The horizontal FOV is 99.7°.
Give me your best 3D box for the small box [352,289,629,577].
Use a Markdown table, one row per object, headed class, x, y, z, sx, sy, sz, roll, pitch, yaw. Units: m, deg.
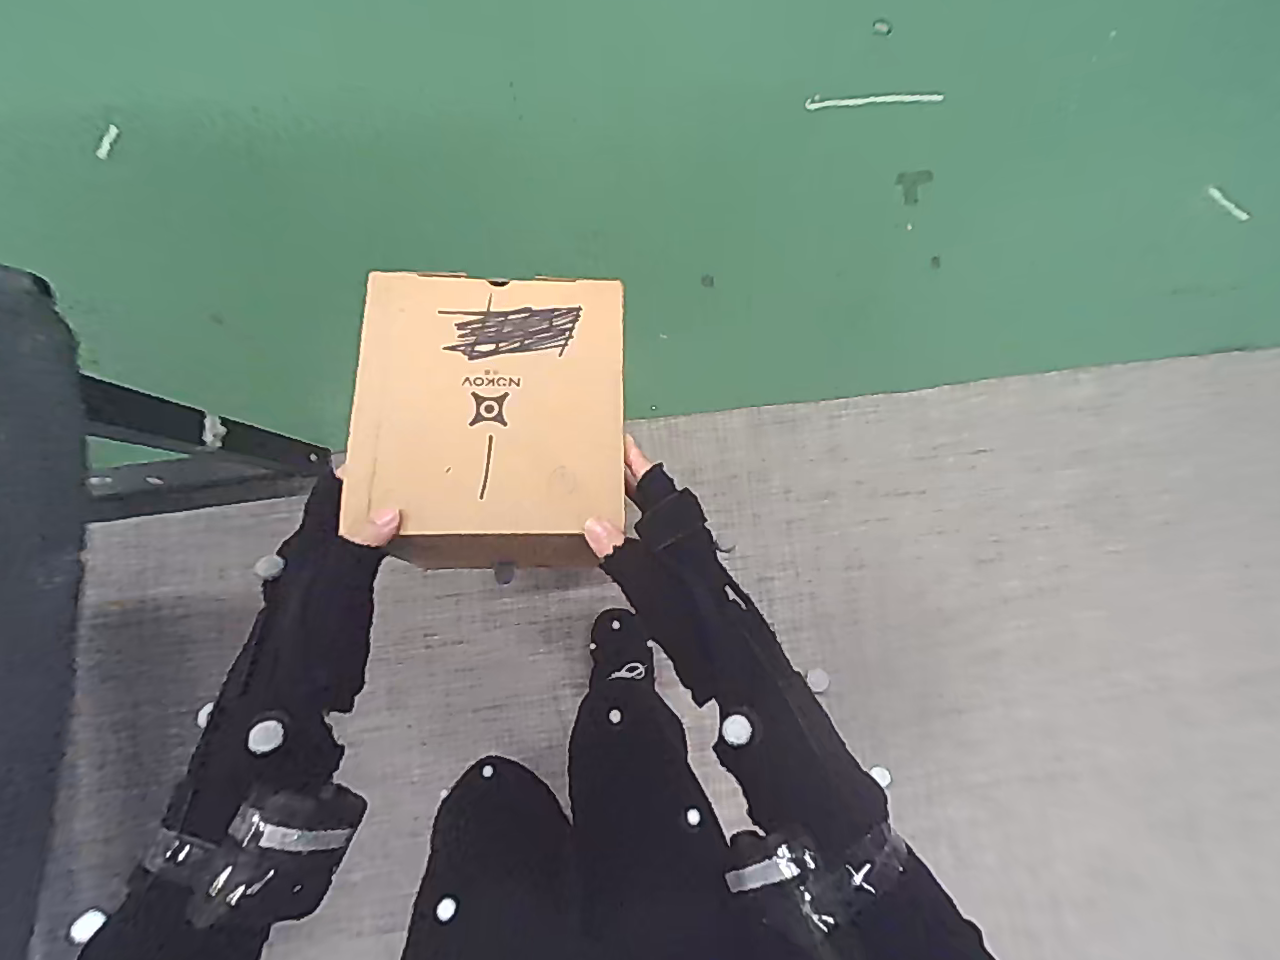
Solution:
| class | x | y | z | sx | sy | sz | roll | pitch | yaw |
| --- | --- | --- | --- | --- | --- | --- | --- | --- | --- |
| small box | -0.097 | -0.023 | 0.427 | 0.168 | 0.176 | 0.179 | 1 | 74 | -4 |
